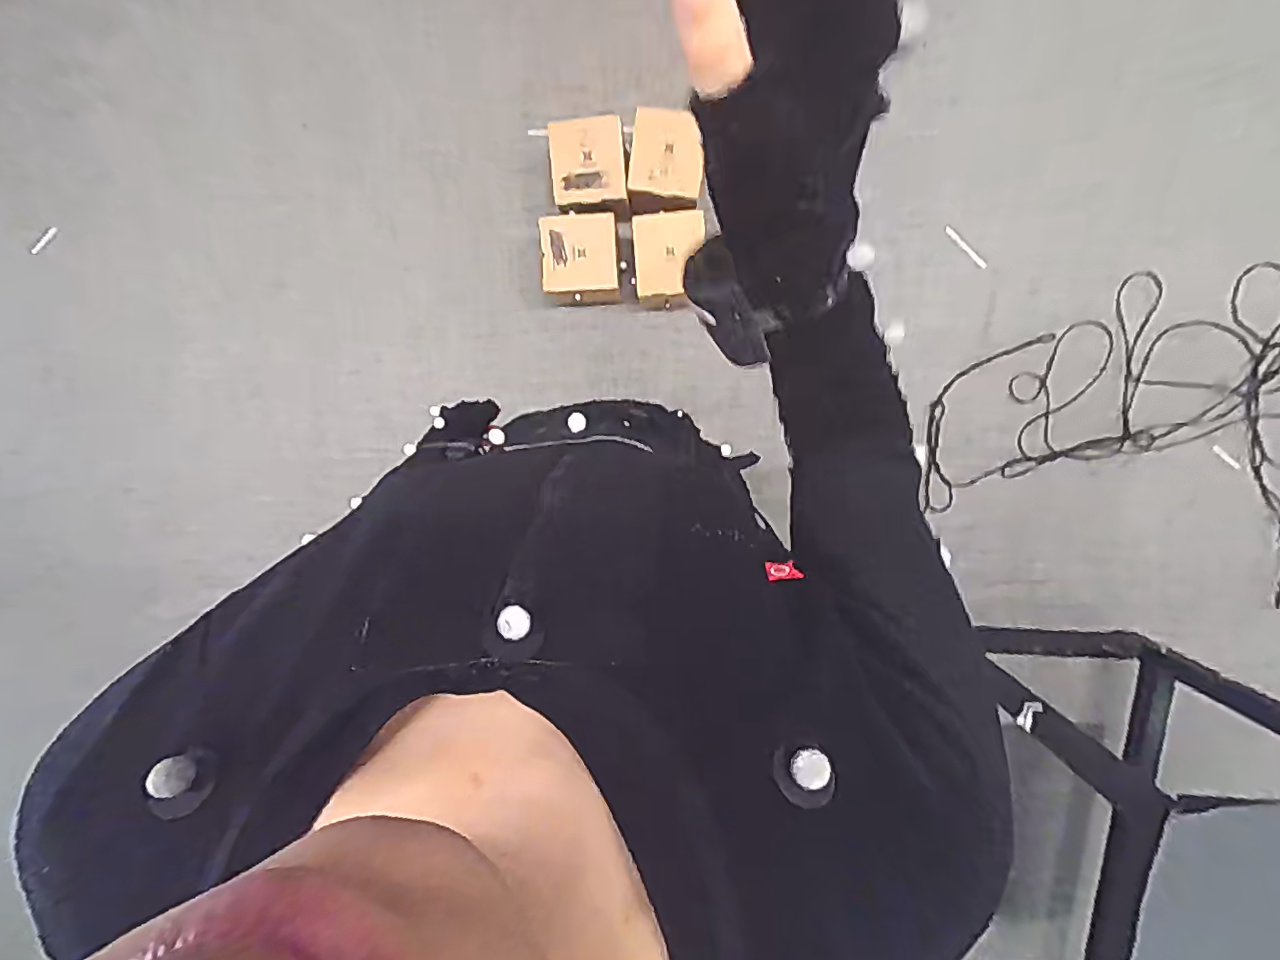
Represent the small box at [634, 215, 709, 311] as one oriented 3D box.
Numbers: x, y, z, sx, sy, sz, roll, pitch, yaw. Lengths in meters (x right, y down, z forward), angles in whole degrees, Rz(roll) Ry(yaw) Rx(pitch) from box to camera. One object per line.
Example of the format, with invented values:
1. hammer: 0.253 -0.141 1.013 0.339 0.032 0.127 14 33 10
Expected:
1. small box: 0.074 -0.520 1.313 0.168 0.176 0.179 -4 99 3
